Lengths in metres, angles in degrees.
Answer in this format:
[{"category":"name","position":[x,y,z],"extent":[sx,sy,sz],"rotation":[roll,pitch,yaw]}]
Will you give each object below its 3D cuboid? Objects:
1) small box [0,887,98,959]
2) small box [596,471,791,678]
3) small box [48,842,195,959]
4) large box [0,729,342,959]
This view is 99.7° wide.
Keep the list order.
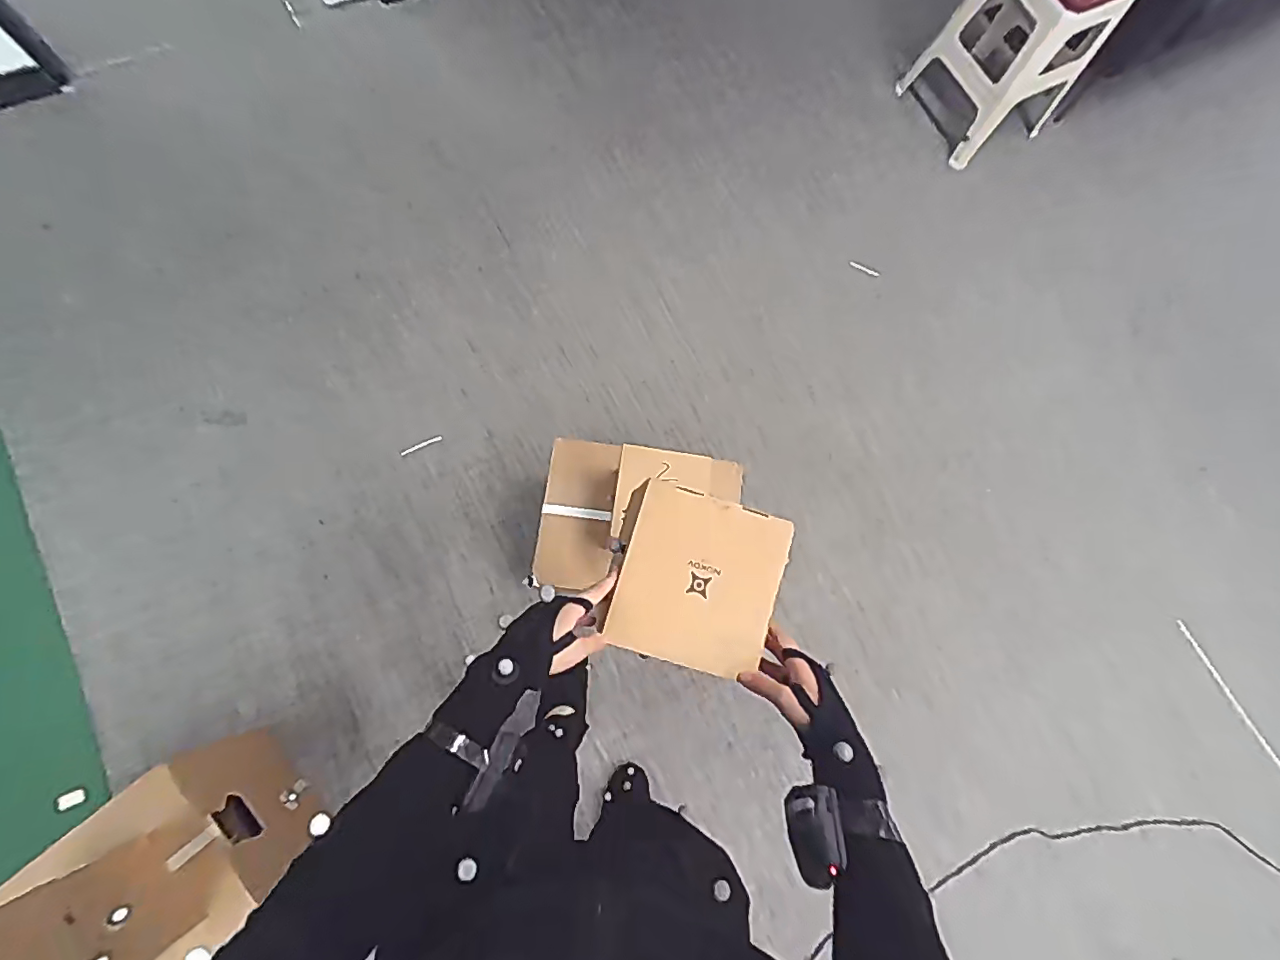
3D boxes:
[{"category":"small box","position":[-0.797,0.636,0.629],"extent":[0.179,0.176,0.168],"rotation":[-40,83,-13]},{"category":"small box","position":[0.051,0.107,0.634],"extent":[0.168,0.176,0.179],"rotation":[18,80,-4]},{"category":"small box","position":[-0.814,0.681,0.786],"extent":[0.168,0.176,0.179],"rotation":[-39,82,-14]},{"category":"large box","position":[-0.877,0.758,1.013],"extent":[0.408,0.320,0.320],"rotation":[-40,82,-12]}]
